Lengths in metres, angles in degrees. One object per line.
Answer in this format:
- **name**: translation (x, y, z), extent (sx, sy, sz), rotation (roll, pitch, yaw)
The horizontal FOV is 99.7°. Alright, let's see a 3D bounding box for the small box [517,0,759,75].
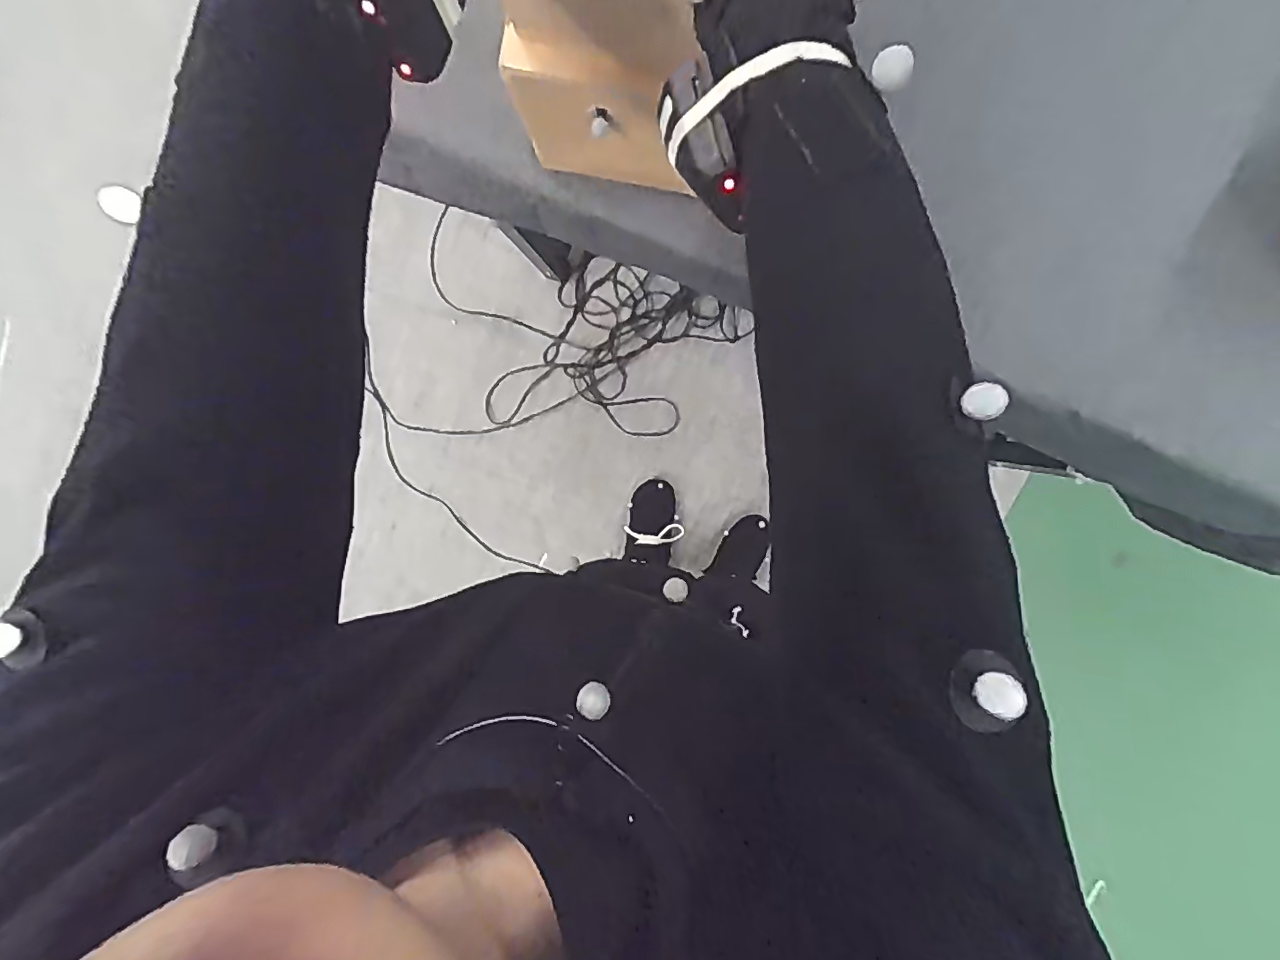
- **small box**: translation (0.007, -0.388, 0.319), extent (0.179, 0.176, 0.168), rotation (16, 99, -1)

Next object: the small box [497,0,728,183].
- **small box**: translation (-0.005, -0.392, 0.481), extent (0.179, 0.176, 0.168), rotation (12, 98, 1)
